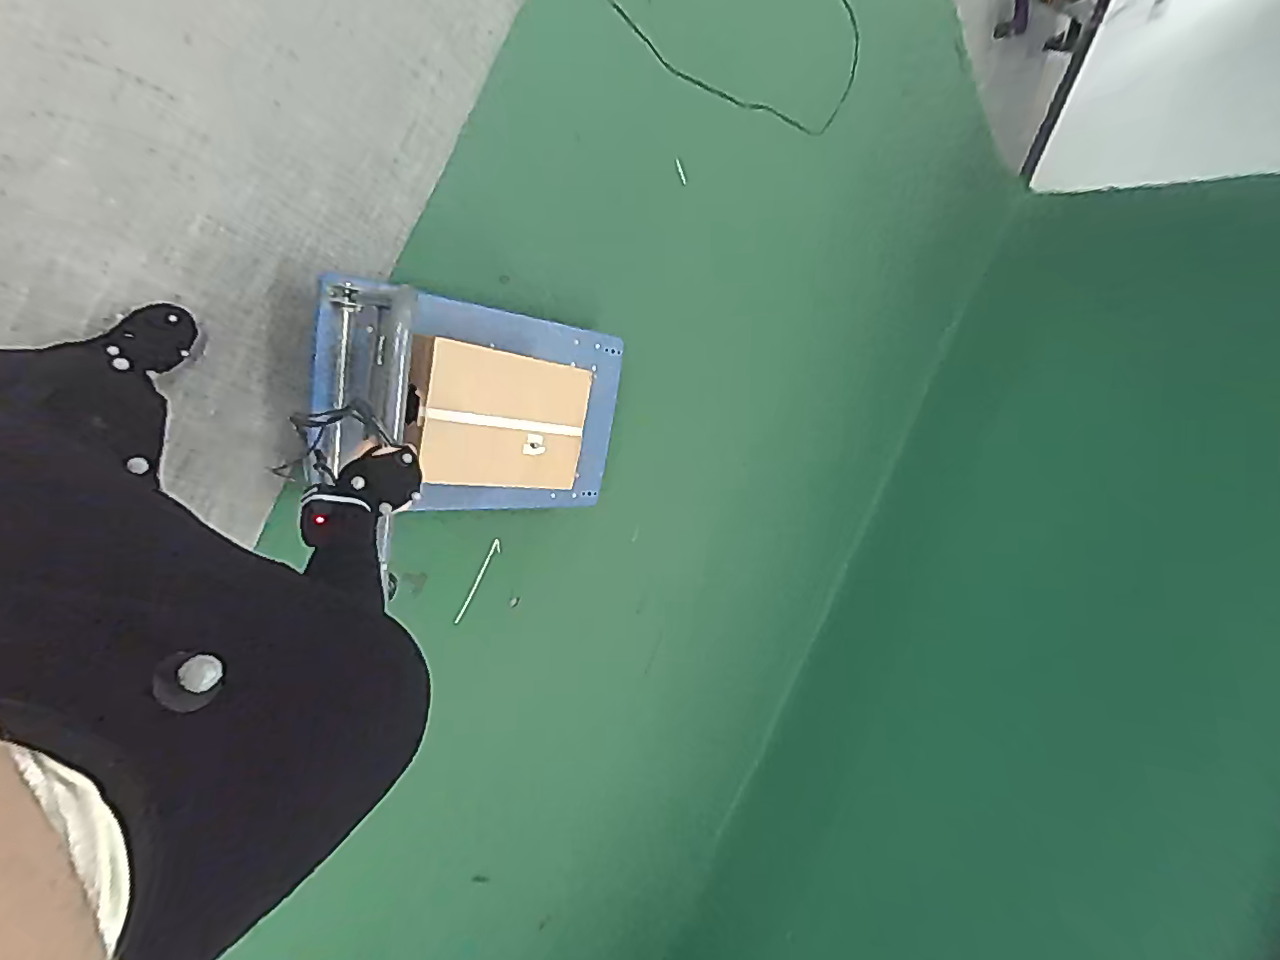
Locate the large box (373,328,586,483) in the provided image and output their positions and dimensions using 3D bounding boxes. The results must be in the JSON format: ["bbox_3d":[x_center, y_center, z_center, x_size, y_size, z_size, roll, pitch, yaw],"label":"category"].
[{"bbox_3d":[-0.407,-0.184,1.361,0.408,0.320,0.320,4,103,-43],"label":"large box"}]
